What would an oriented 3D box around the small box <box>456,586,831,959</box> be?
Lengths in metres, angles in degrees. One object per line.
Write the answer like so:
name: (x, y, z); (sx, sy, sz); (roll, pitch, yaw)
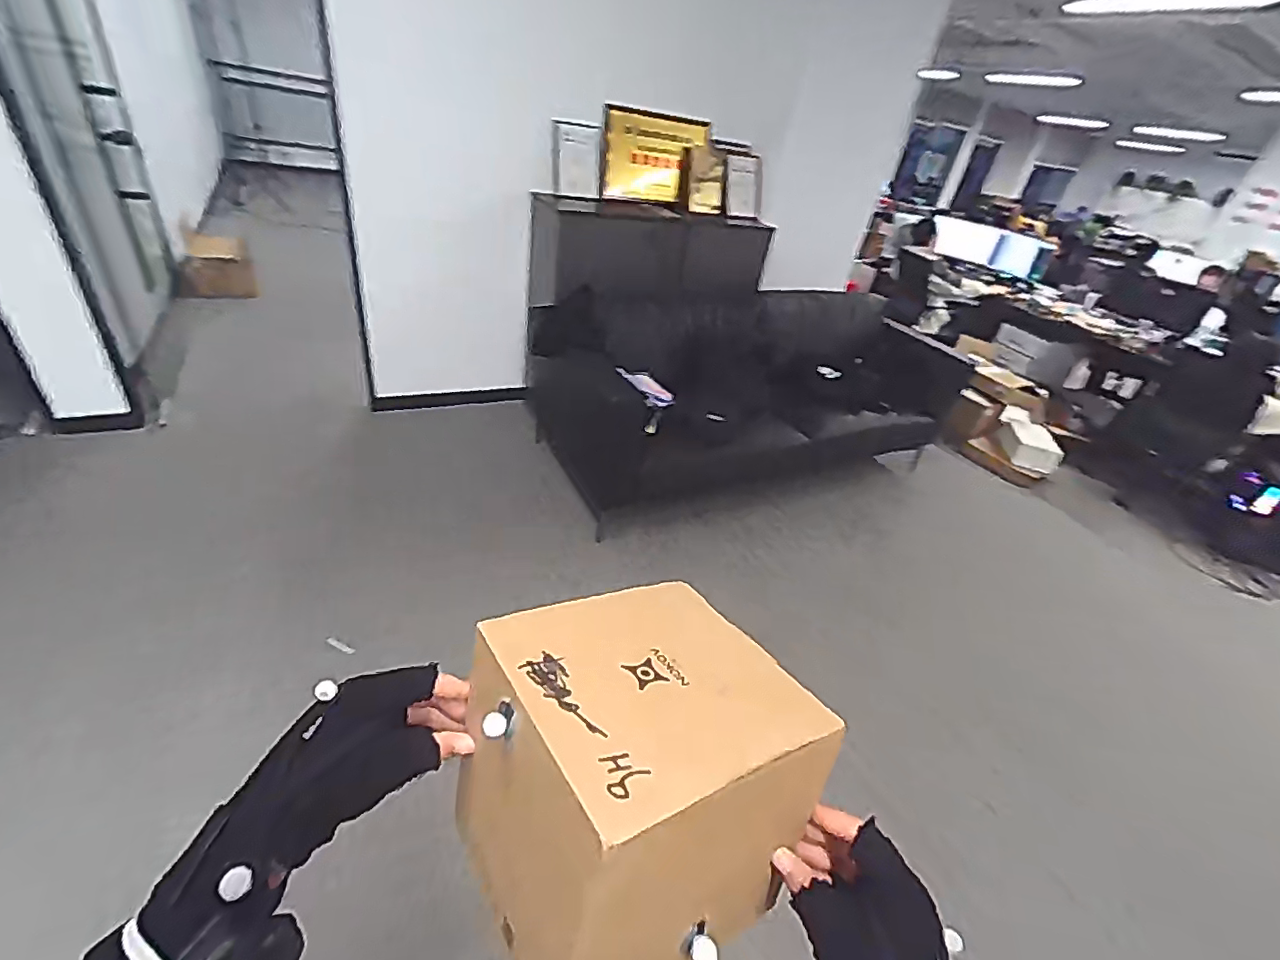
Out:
small box: (-0.009, 0.196, 0.370); (0.179, 0.176, 0.168); (-1, 22, -36)
